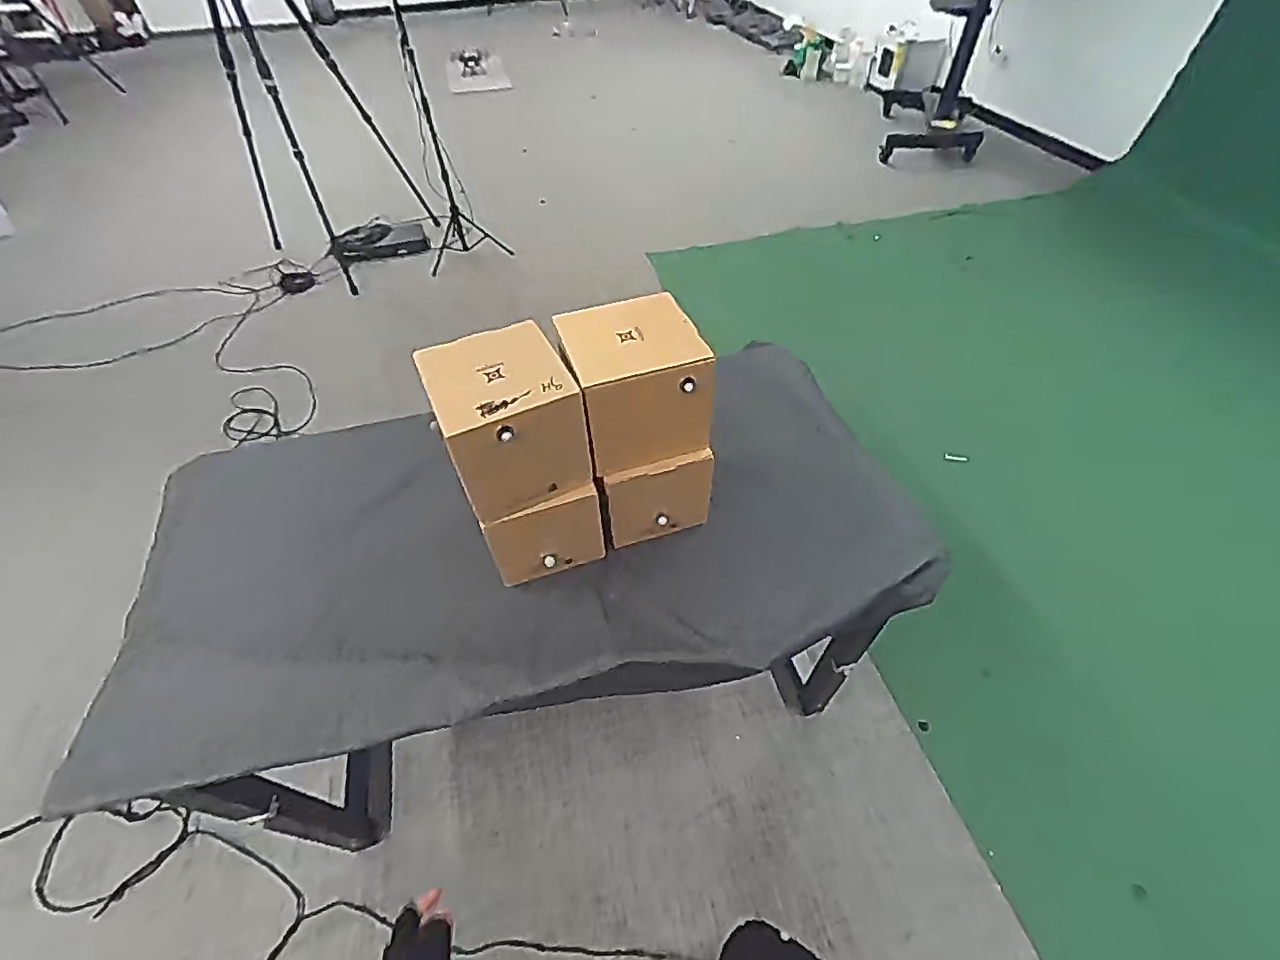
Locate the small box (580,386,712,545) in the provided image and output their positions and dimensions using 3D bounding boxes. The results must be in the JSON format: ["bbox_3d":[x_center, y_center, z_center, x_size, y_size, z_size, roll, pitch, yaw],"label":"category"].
[{"bbox_3d":[0.006,-0.023,0.887,0.168,0.176,0.179,-16,51,-10],"label":"small box"}]
